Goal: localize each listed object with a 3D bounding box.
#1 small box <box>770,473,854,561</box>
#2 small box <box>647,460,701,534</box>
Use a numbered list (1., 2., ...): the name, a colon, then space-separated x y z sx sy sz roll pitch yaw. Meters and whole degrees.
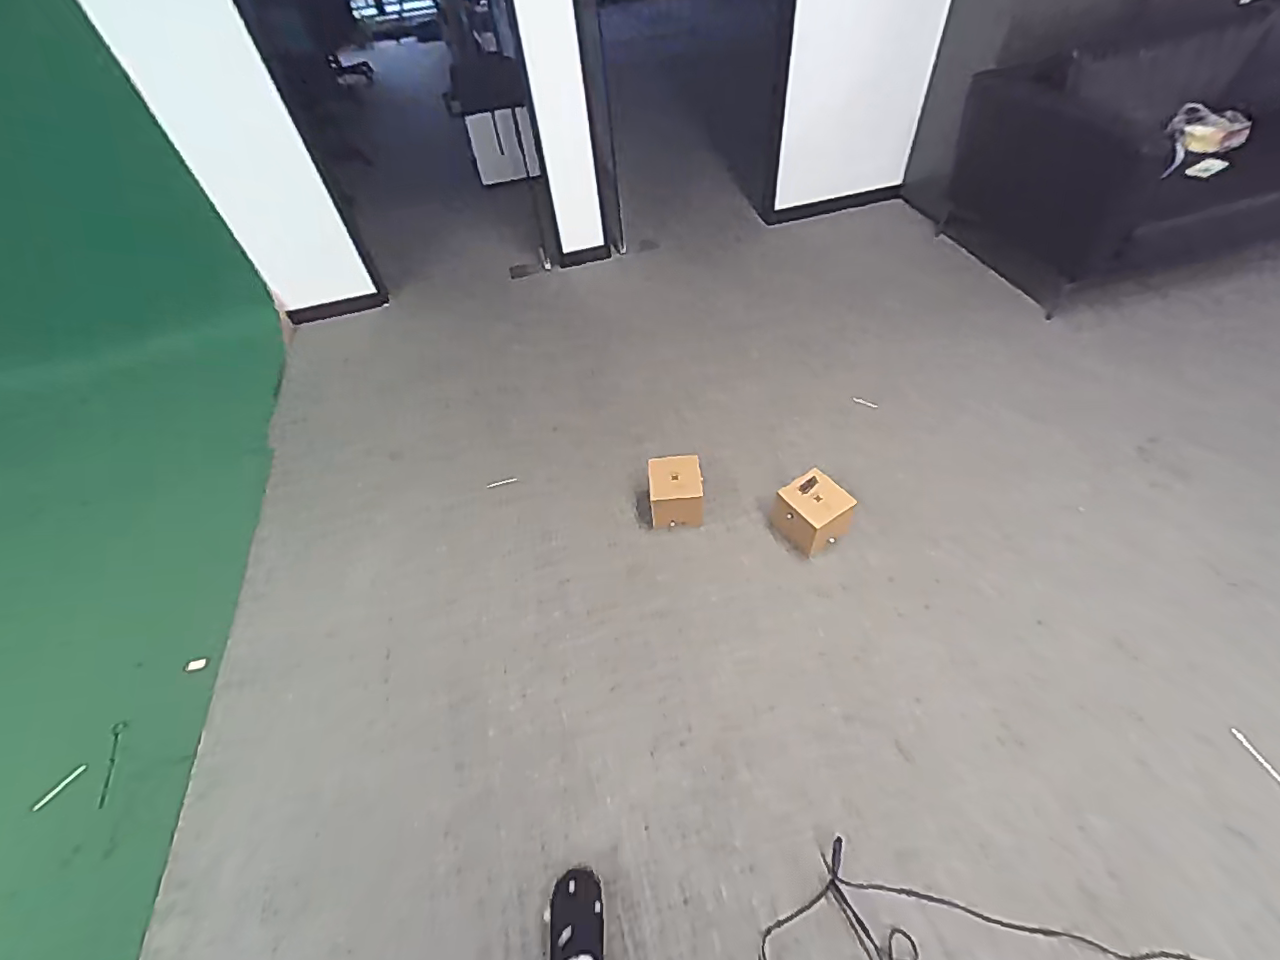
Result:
1. small box: 0.528 0.118 1.690 0.168 0.176 0.179 -29 53 -18
2. small box: 0.109 0.057 1.783 0.168 0.176 0.179 -4 49 2
